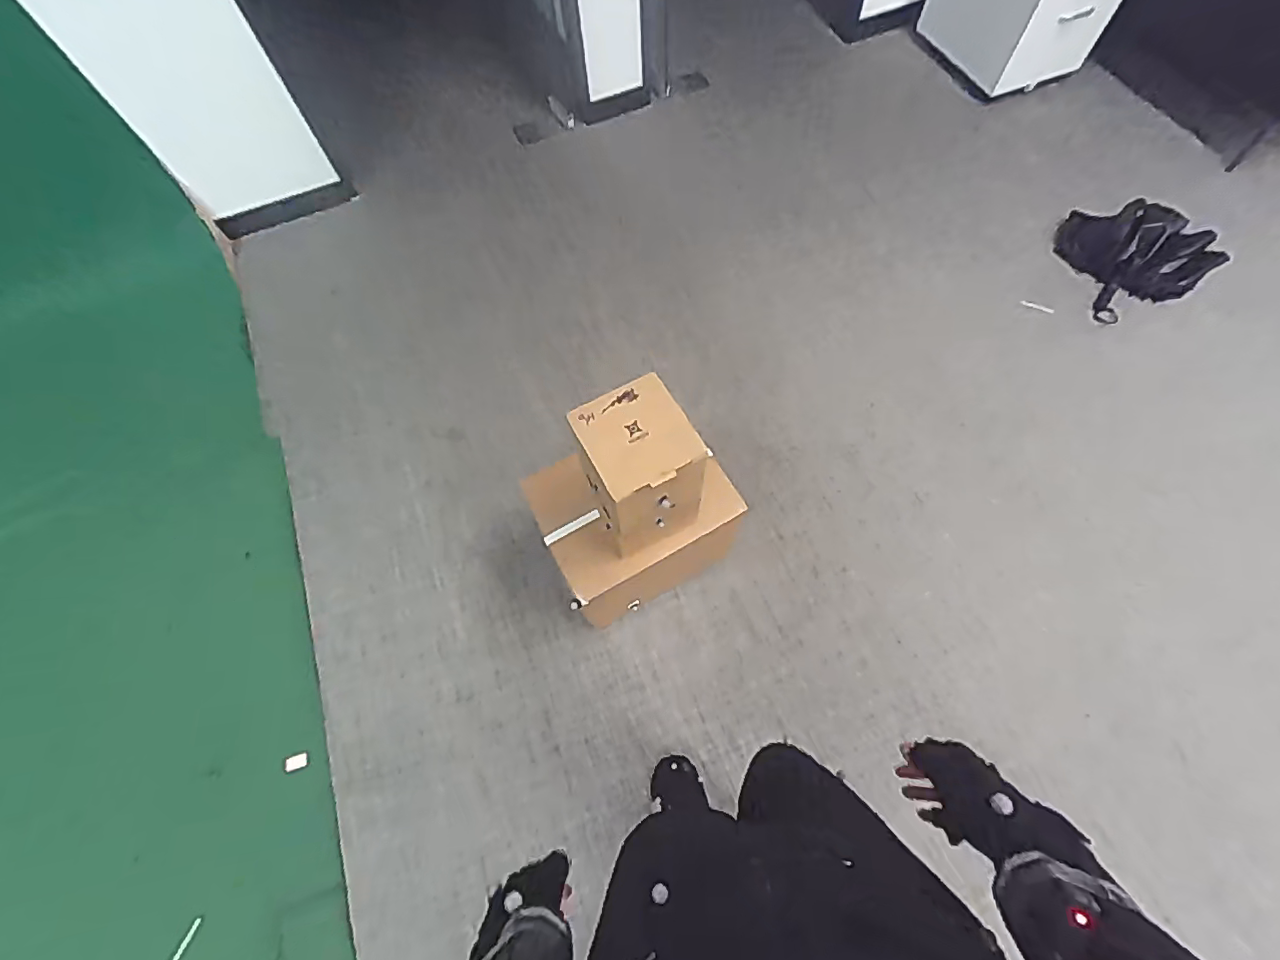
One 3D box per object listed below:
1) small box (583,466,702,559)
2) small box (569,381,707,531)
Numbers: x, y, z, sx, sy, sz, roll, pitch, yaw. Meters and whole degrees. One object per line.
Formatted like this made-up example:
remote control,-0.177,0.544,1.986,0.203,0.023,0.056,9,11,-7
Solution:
small box,0.006,0.035,1.077,0.179,0.176,0.168,-26,68,-10
small box,-0.001,-0.029,0.926,0.168,0.176,0.179,-27,68,-9
